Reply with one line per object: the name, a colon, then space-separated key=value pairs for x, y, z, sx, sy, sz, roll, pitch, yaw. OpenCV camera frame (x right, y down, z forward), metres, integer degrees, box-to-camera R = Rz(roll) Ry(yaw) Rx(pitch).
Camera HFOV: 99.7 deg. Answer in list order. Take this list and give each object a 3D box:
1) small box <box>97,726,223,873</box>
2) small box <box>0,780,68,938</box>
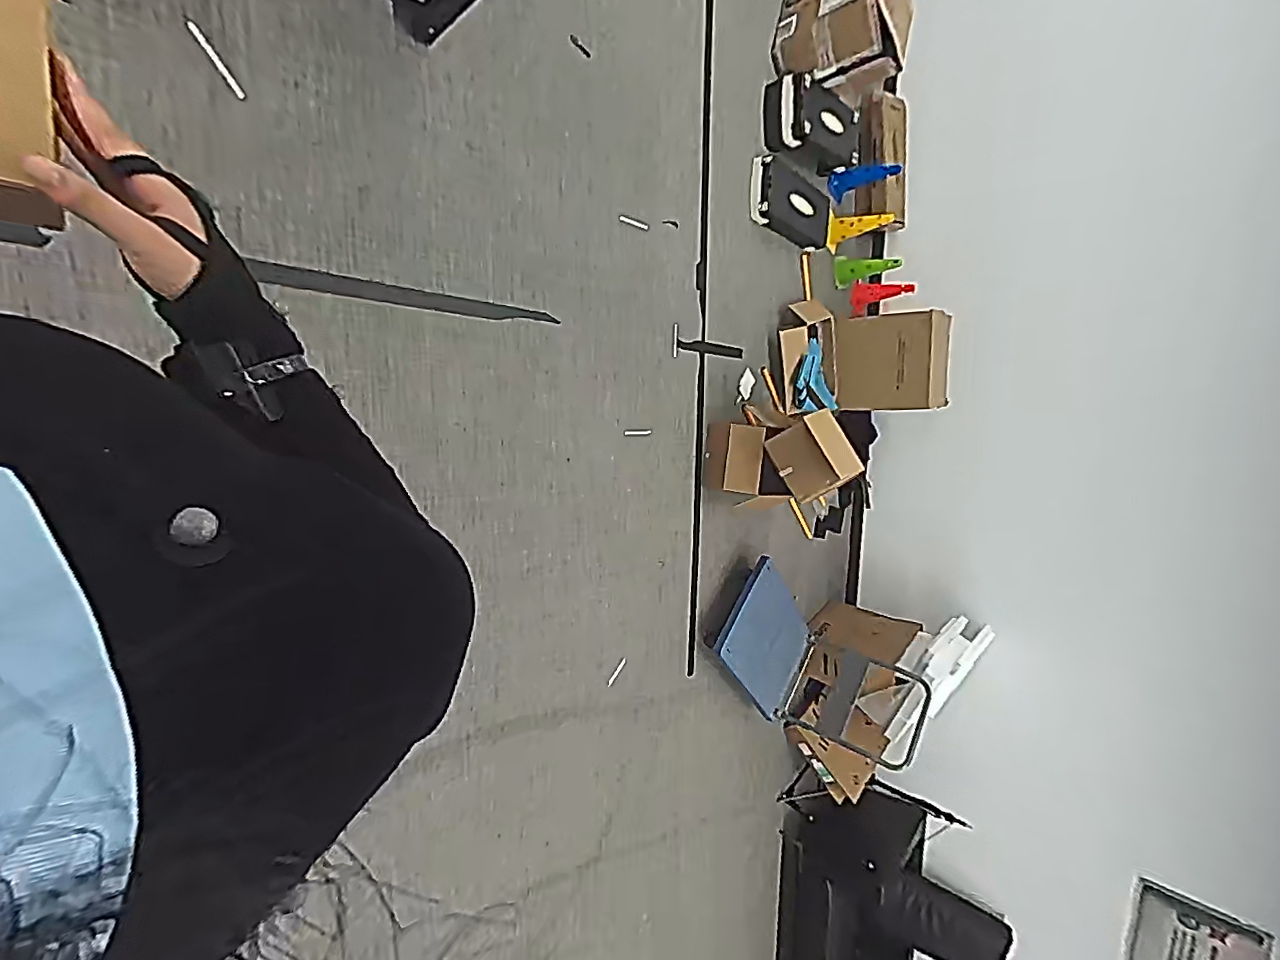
small box: x=-0.979 y=0.632 z=1.103 sx=0.168 sy=0.176 sz=0.179 roll=-11 pitch=105 yaw=-45
small box: x=-1.127 y=0.675 z=0.950 sx=0.168 sy=0.176 sz=0.179 roll=-2 pitch=97 yaw=-48
